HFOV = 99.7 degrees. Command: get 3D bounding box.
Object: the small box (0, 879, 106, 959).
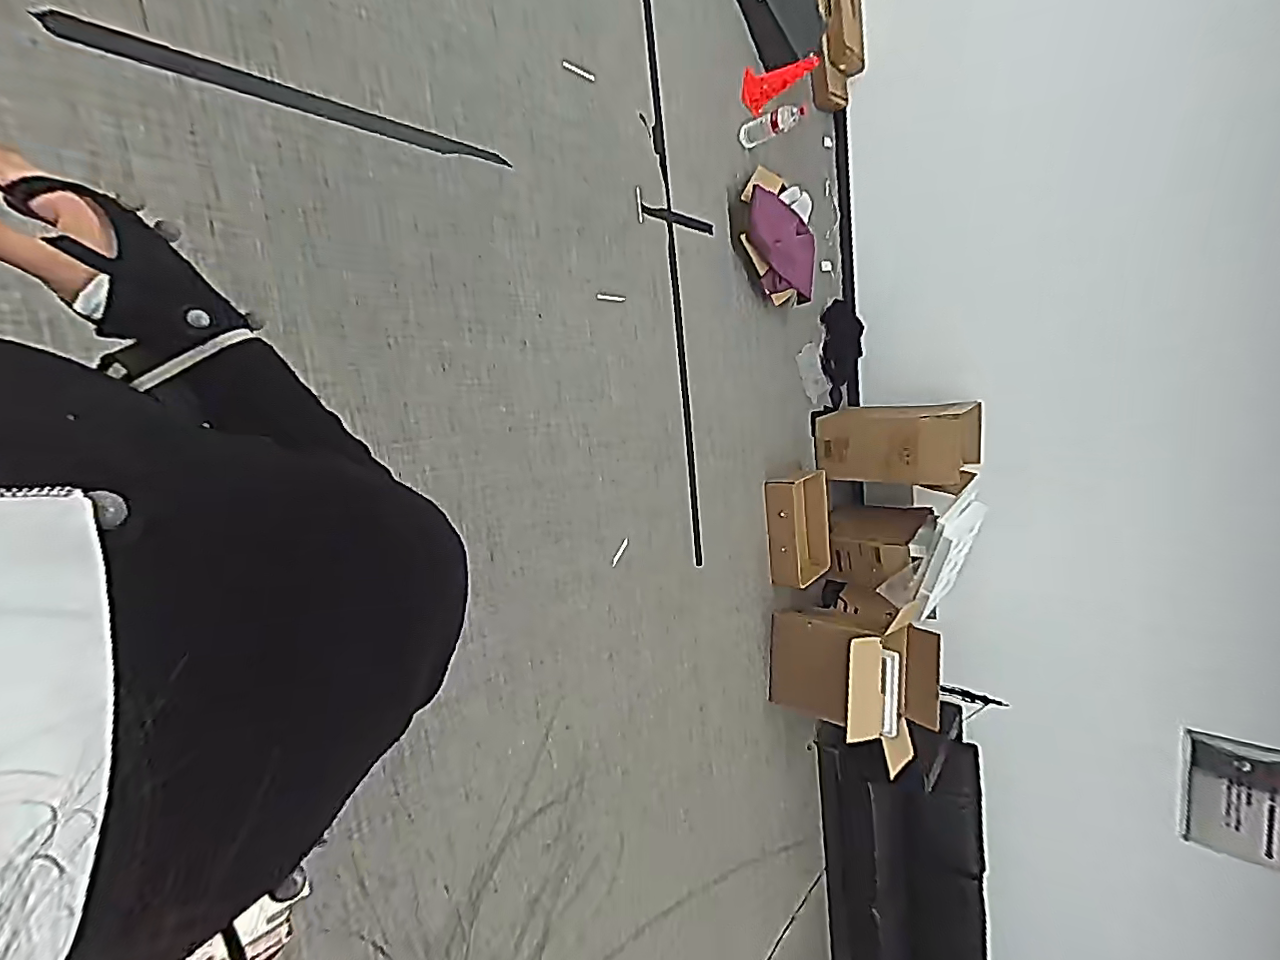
[{"bbox_3d":[-0.775,0.643,0.648,0.179,0.176,0.168,-16,102,-45],"label":"small box"}]
